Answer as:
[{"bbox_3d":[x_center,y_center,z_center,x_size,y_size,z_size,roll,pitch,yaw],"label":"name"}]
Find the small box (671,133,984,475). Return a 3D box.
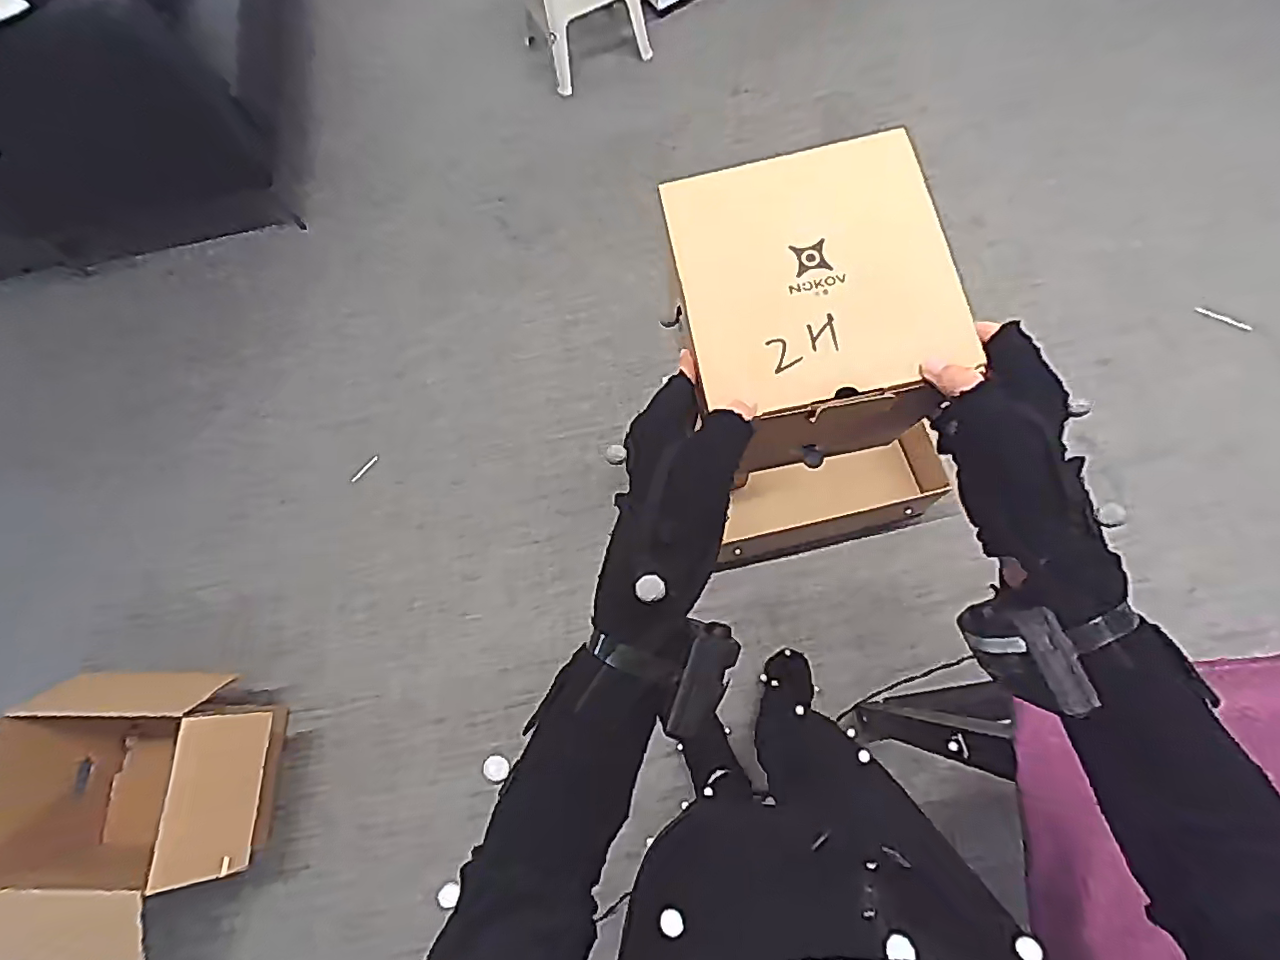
[{"bbox_3d":[0.118,-0.117,0.420,0.168,0.176,0.179,-10,77,3],"label":"small box"}]
